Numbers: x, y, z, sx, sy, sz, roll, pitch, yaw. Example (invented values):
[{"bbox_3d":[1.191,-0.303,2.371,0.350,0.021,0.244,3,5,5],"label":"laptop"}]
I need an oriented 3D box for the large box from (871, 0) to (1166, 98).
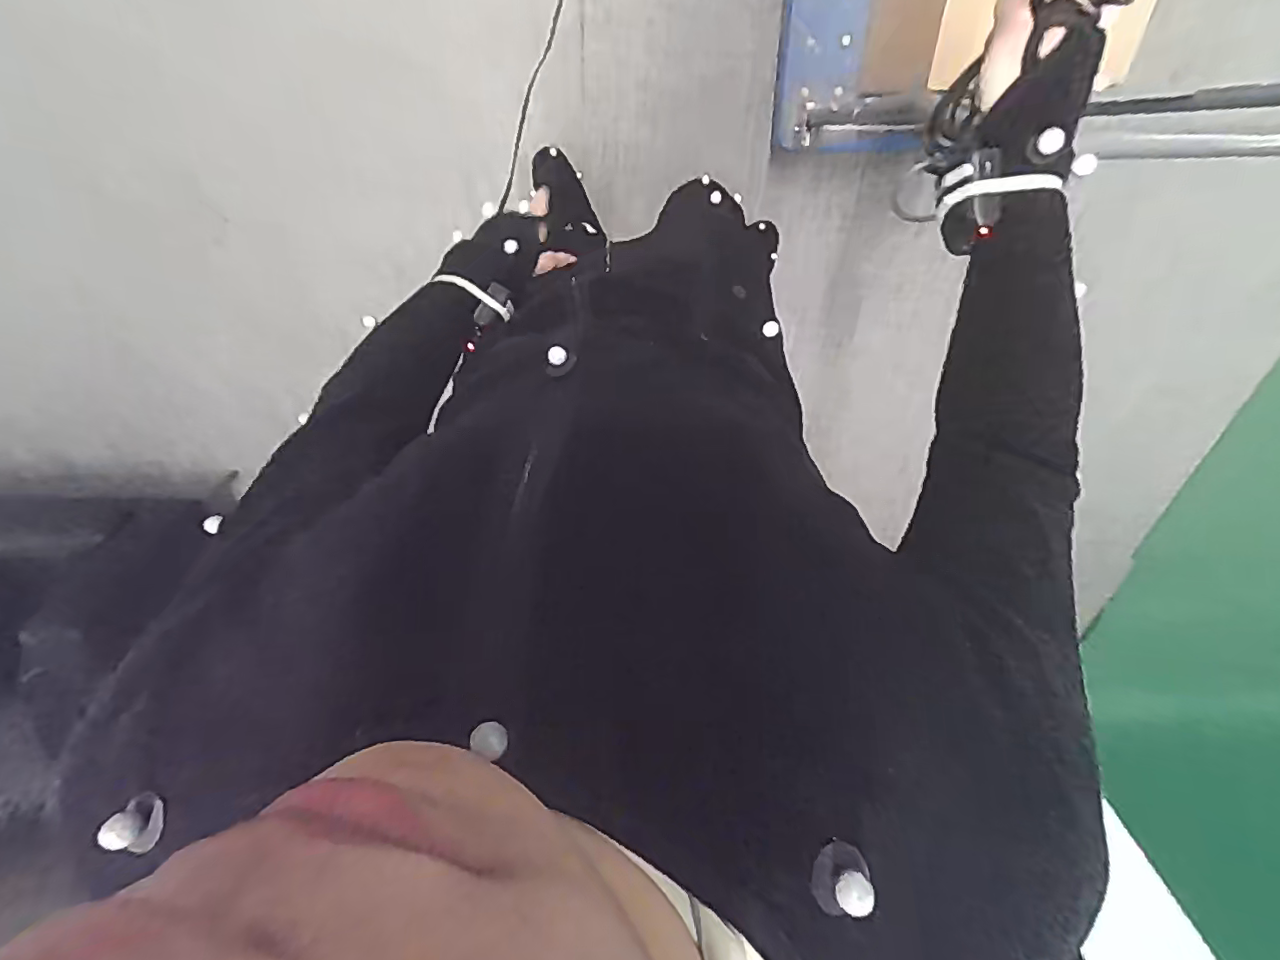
[{"bbox_3d":[0.600,-0.851,0.845,0.320,0.320,0.408,-2,125,-1],"label":"large box"}]
